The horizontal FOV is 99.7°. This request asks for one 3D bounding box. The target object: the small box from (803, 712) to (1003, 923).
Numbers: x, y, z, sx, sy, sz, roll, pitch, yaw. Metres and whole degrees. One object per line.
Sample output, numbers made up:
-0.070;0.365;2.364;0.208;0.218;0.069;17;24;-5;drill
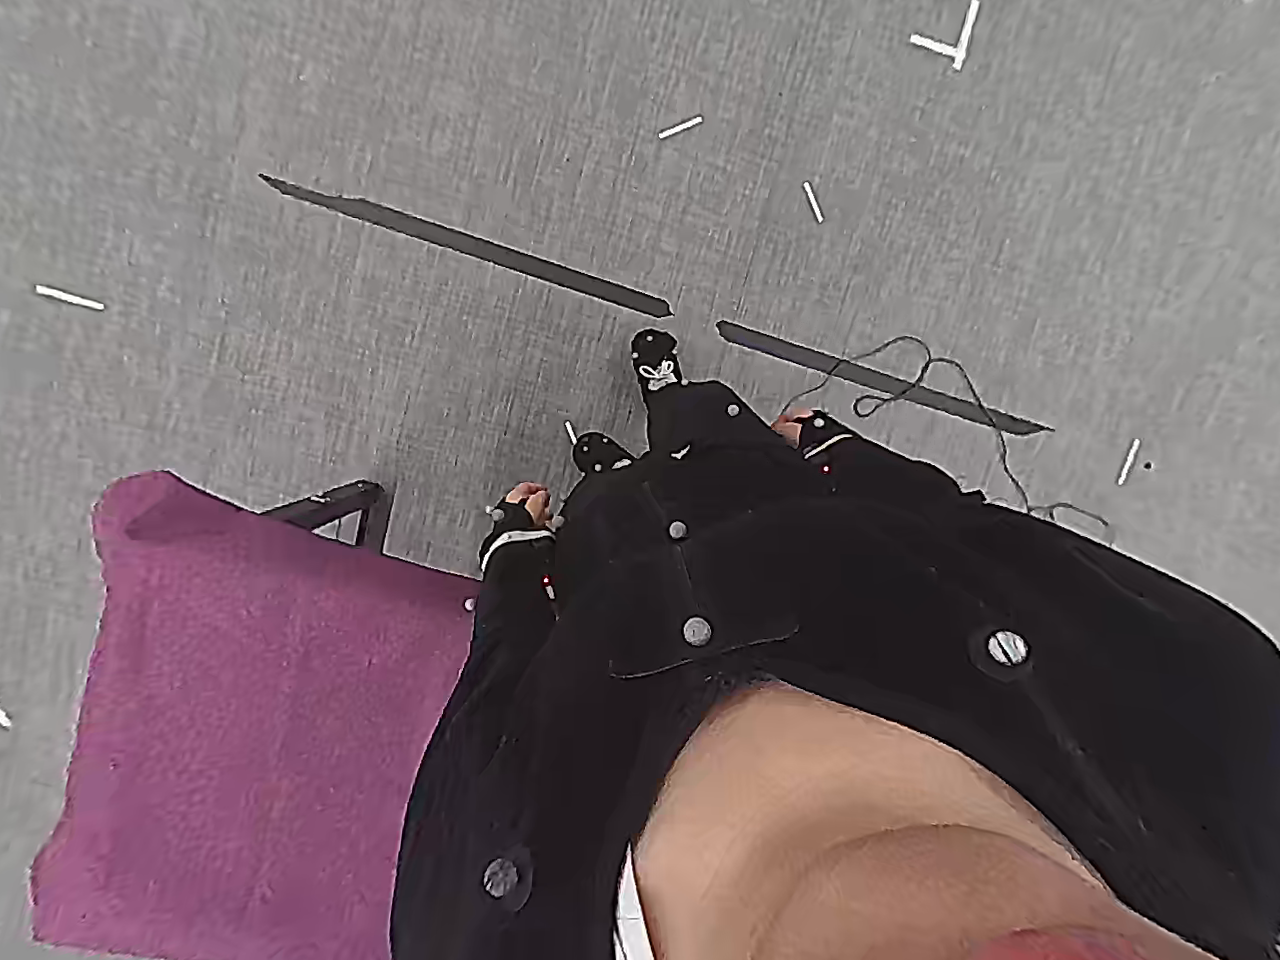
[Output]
0.354;0.461;0.764;0.168;0.176;0.179;17;96;-6;small box
